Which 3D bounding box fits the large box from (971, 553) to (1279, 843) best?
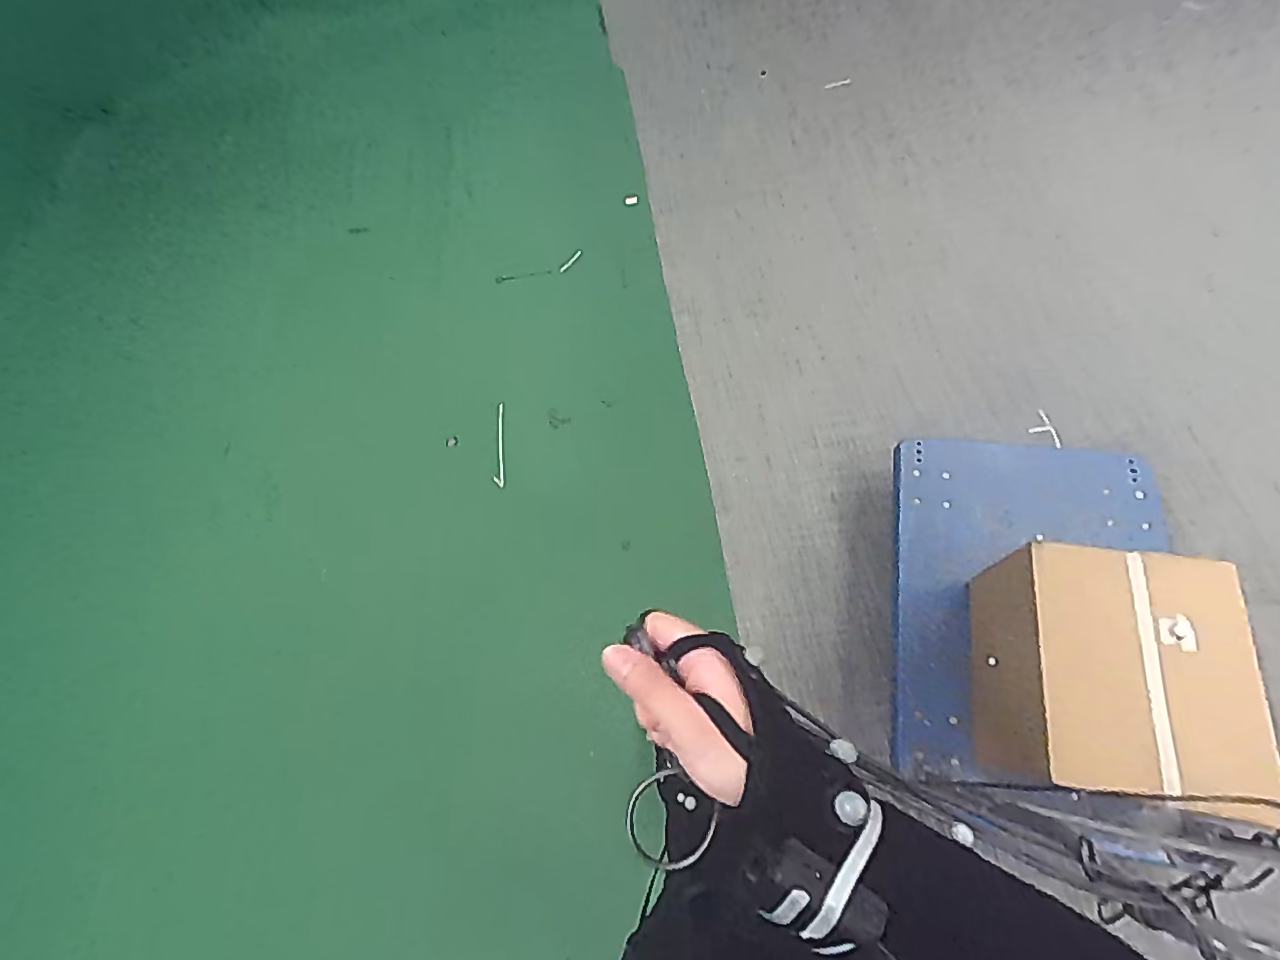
[{"bbox_3d":[0.848,0.391,1.006,0.320,0.320,0.408,7,66,13],"label":"large box"}]
